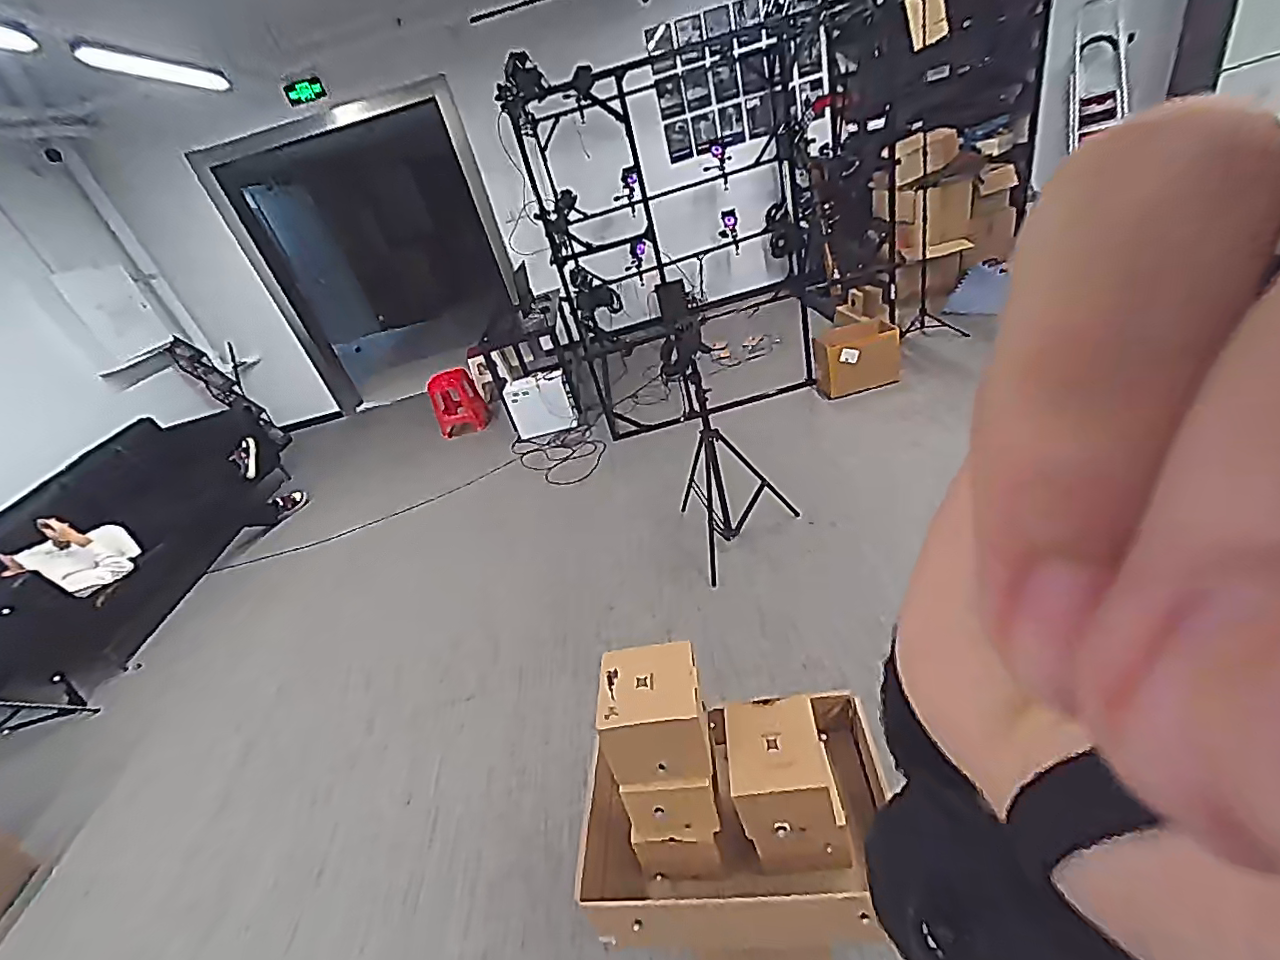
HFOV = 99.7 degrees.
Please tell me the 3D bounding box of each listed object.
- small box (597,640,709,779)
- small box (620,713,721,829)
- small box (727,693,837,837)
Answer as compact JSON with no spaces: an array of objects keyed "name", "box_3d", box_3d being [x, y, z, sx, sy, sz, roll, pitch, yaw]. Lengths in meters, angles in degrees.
[{"name":"small box","box_3d":[0.031,0.423,0.996,0.179,0.176,0.168,-9,30,7]},{"name":"small box","box_3d":[0.064,0.565,1.071,0.168,0.176,0.179,-9,31,8]},{"name":"small box","box_3d":[0.262,0.534,1.017,0.168,0.176,0.179,-12,31,12]}]
